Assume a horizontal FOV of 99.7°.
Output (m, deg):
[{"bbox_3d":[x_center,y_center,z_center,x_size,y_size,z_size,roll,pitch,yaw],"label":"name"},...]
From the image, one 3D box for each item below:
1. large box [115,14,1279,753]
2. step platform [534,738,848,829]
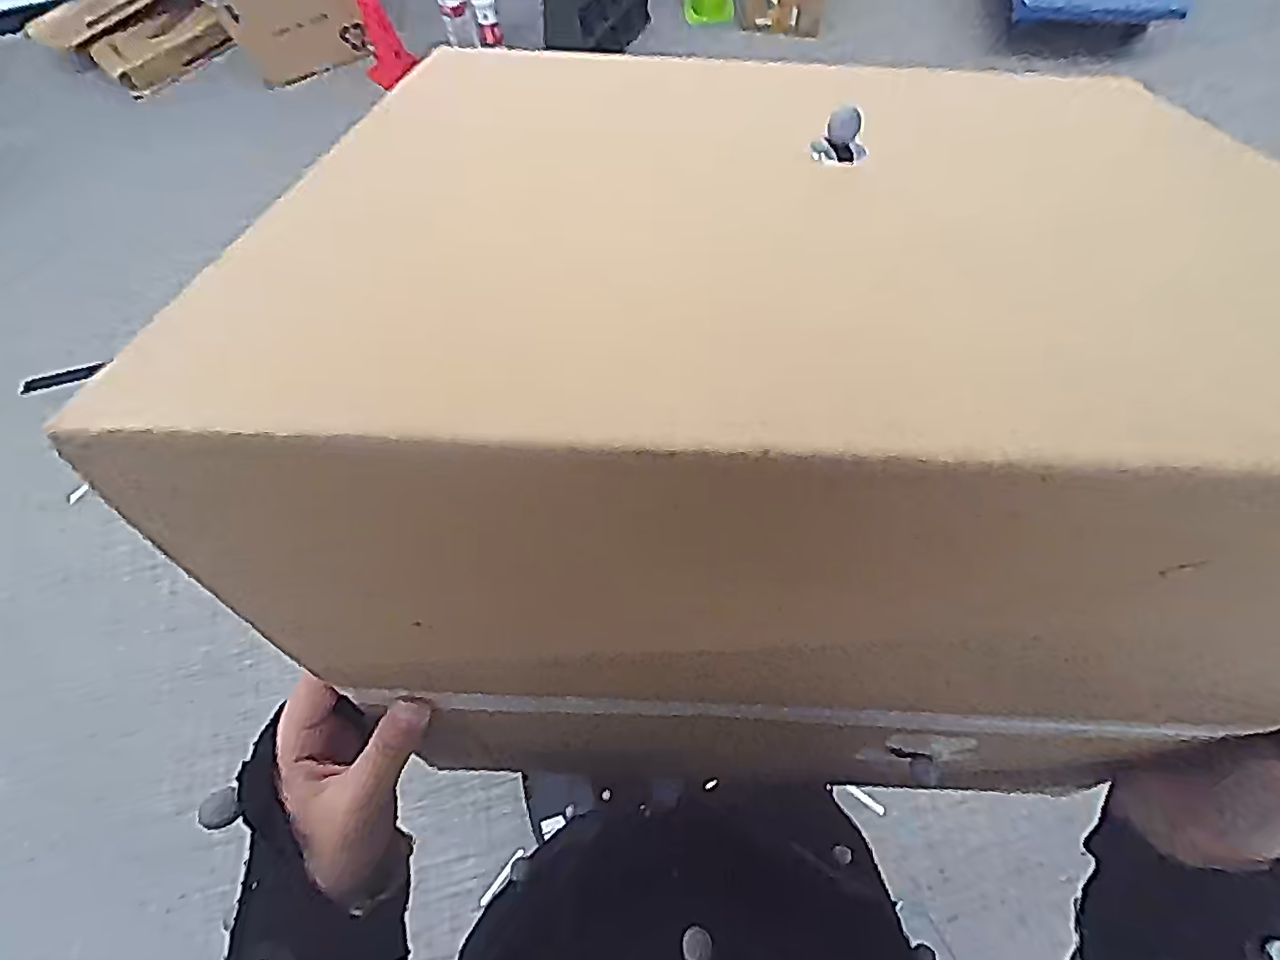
[{"bbox_3d":[0.085,-0.047,0.319,0.408,0.320,0.320,1,51,0],"label":"large box"},{"bbox_3d":[0.106,0.577,1.234,0.684,0.204,0.286,-8,70,-1],"label":"step platform"}]
